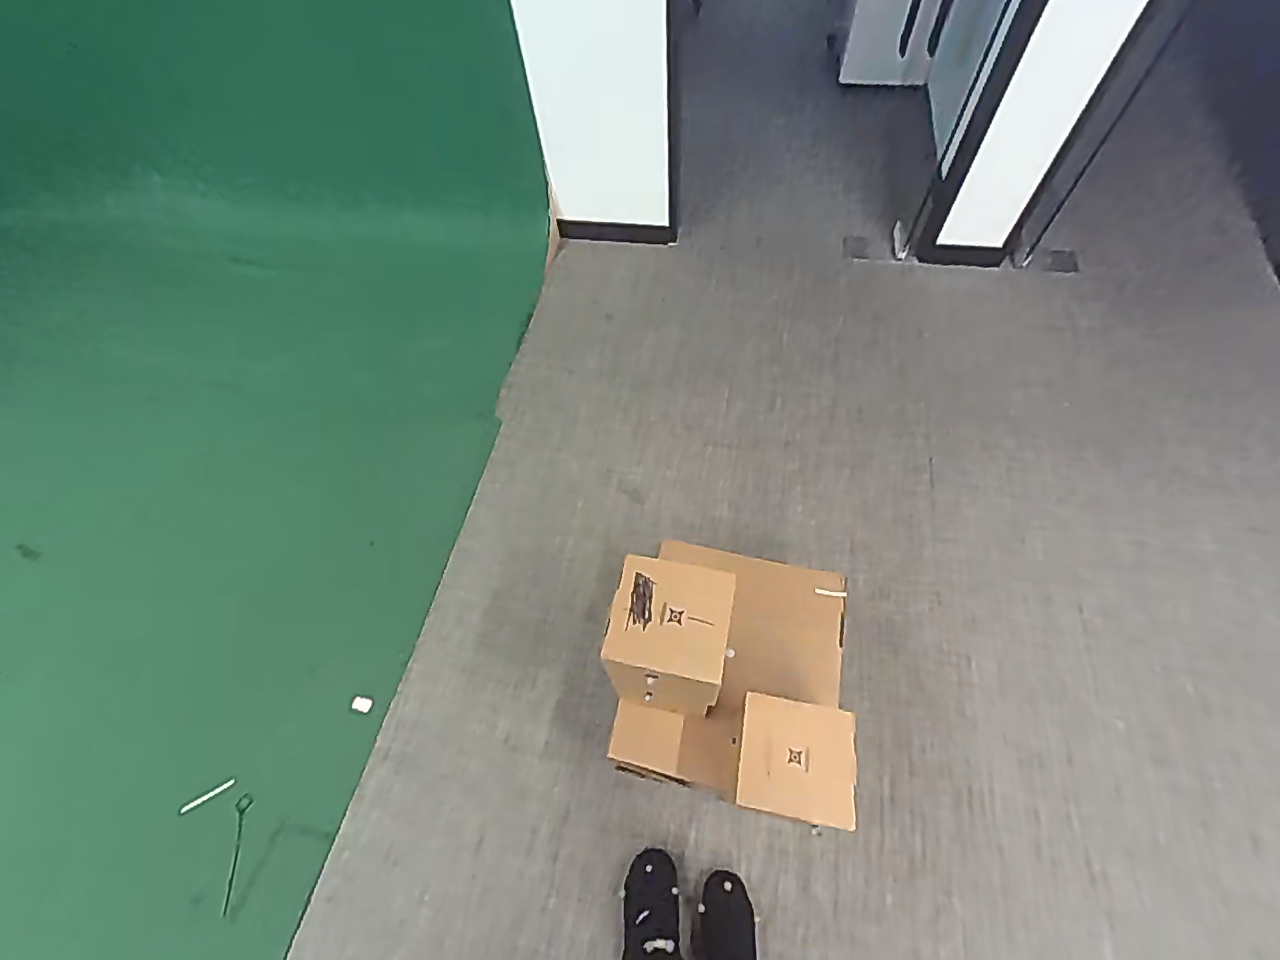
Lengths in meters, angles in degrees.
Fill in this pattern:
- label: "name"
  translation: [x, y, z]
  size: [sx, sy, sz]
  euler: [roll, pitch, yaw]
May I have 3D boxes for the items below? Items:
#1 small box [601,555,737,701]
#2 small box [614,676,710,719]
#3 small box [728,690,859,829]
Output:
- label: "small box"
  translation: [0.050, 0.239, 0.856]
  size: [0.179, 0.176, 0.168]
  euler: [9, 60, 9]
- label: "small box"
  translation: [0.057, 0.321, 0.999]
  size: [0.168, 0.176, 0.179]
  euler: [9, 59, 10]
- label: "small box"
  translation: [0.250, 0.464, 0.900]
  size: [0.179, 0.176, 0.168]
  euler: [8, 59, 8]
